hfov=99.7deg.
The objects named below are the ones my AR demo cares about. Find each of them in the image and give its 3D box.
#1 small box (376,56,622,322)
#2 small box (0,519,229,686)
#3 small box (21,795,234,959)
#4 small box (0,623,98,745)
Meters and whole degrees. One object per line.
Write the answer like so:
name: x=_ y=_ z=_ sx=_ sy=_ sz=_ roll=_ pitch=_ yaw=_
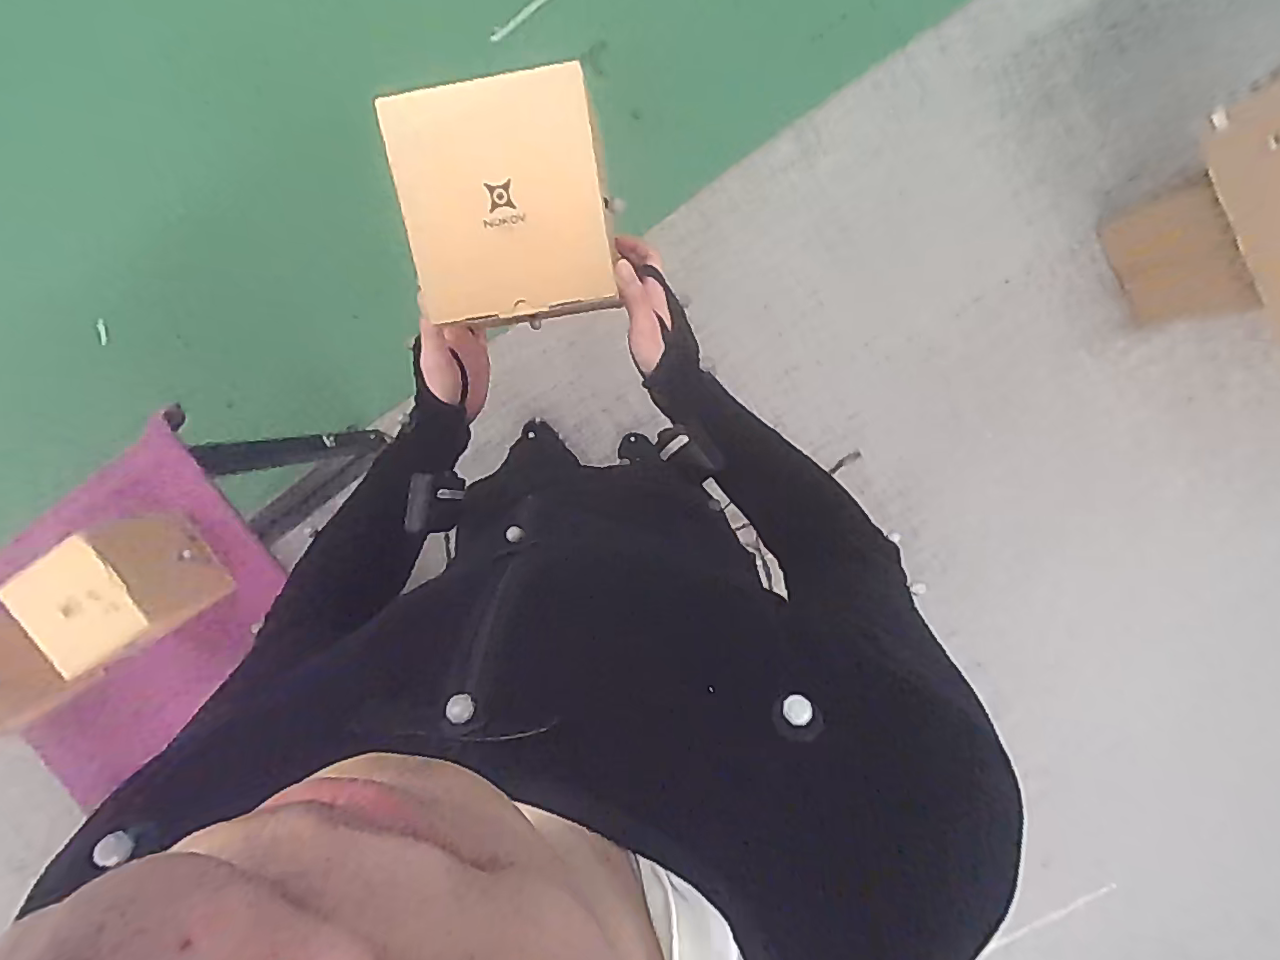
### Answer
small box: x=-0.110 y=-0.247 z=0.506 sx=0.168 sy=0.176 sz=0.179 roll=-8 pitch=107 yaw=3
small box: x=-0.824 y=0.185 z=0.863 sx=0.179 sy=0.176 sz=0.168 roll=-32 pitch=97 yaw=7
small box: x=-0.872 y=0.702 z=0.939 sx=0.179 sy=0.176 sz=0.168 roll=-35 pitch=95 yaw=6
small box: x=-1.090 y=0.356 z=0.902 sx=0.179 sy=0.176 sz=0.168 roll=-32 pitch=96 yaw=7
